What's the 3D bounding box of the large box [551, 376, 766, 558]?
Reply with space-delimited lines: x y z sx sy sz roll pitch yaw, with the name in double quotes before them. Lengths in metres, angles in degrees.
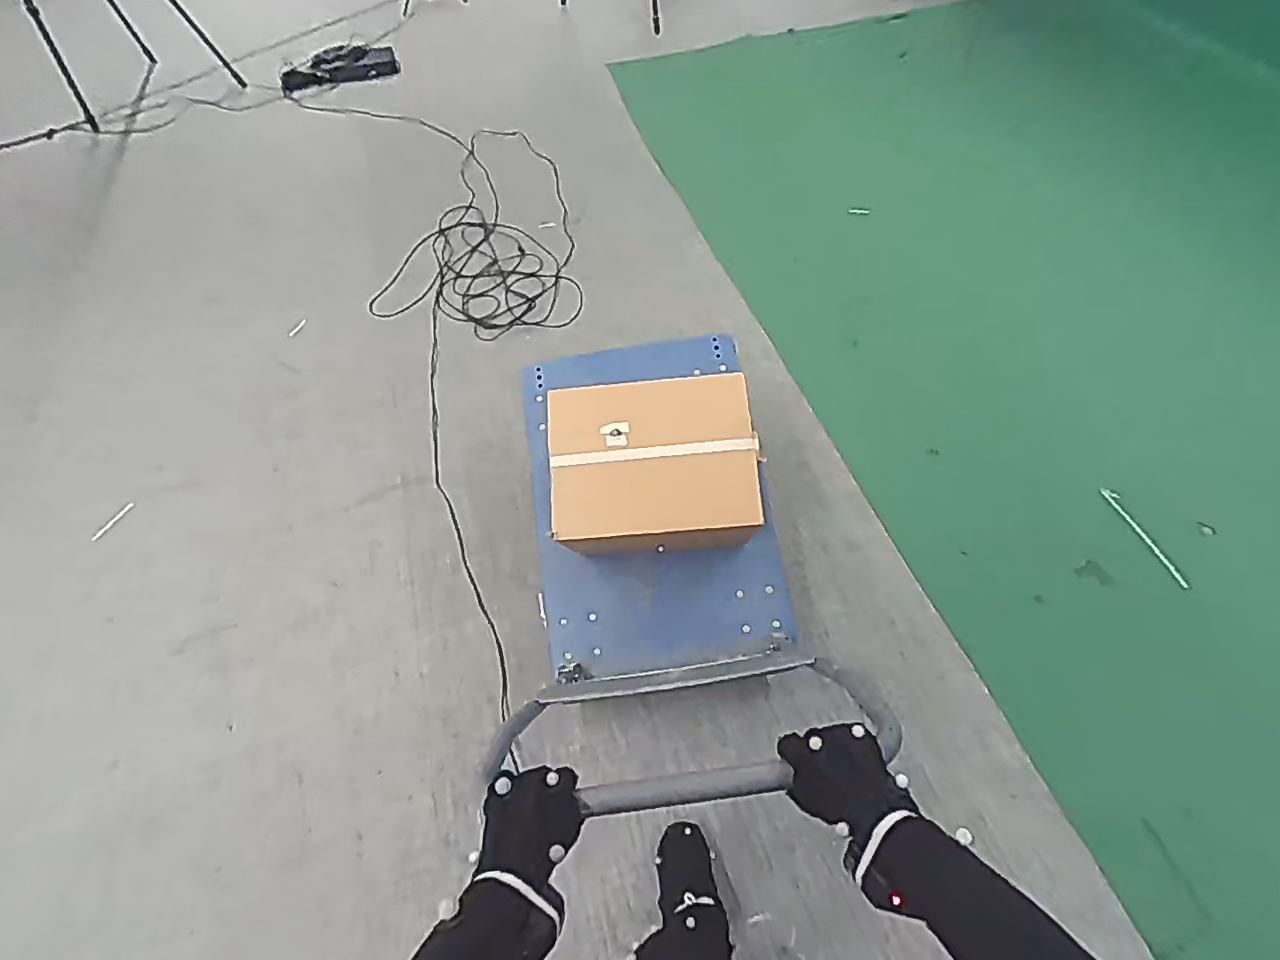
"large box" 0.043 -0.007 1.204 0.408 0.320 0.320 -6 76 4
